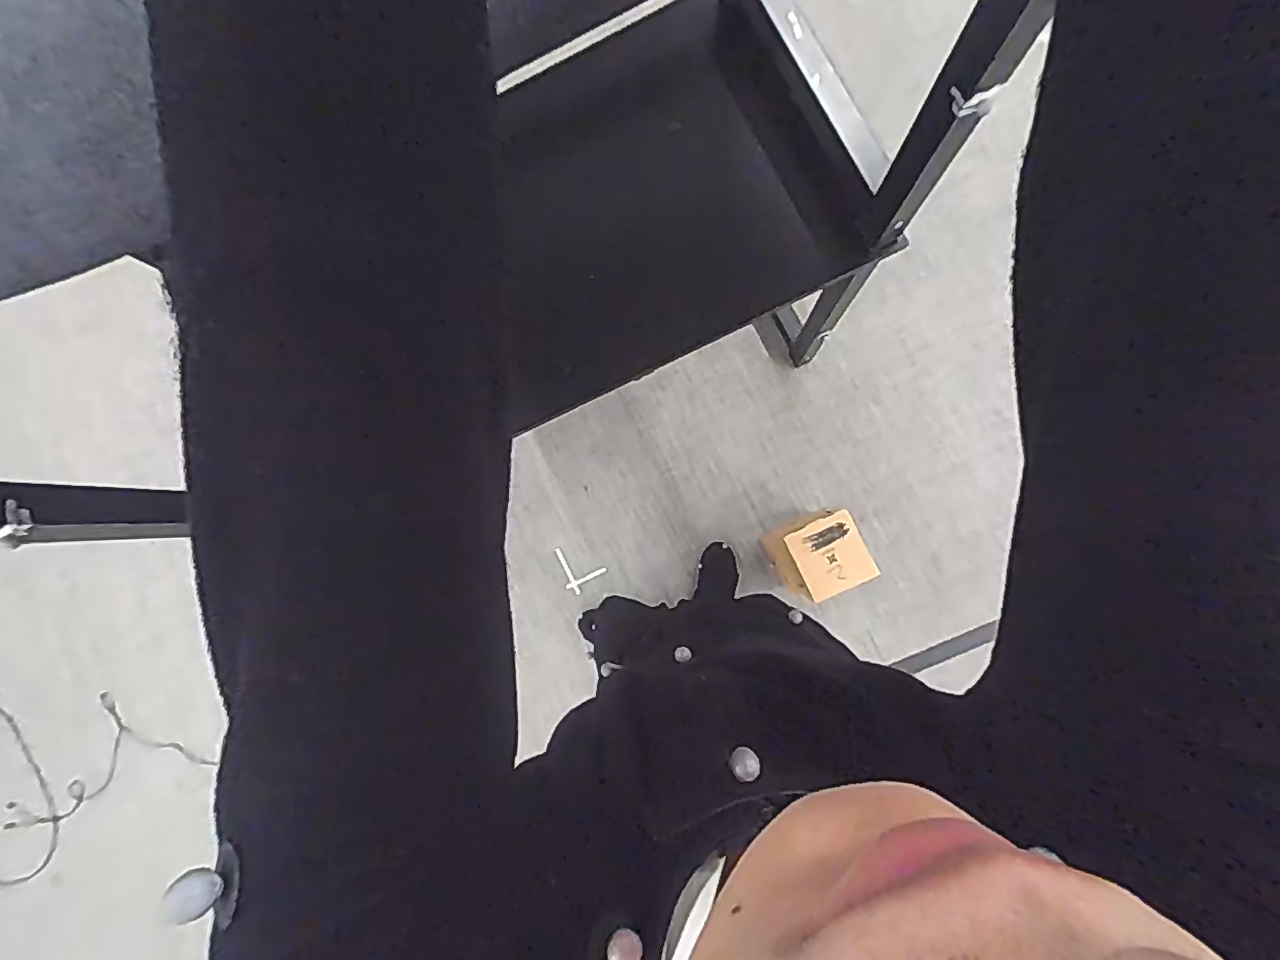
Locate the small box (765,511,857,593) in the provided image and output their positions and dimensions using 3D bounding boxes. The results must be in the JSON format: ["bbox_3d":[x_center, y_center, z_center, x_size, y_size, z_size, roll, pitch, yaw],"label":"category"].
[{"bbox_3d":[0.467,0.194,1.506,0.179,0.176,0.168,-27,83,4],"label":"small box"}]
